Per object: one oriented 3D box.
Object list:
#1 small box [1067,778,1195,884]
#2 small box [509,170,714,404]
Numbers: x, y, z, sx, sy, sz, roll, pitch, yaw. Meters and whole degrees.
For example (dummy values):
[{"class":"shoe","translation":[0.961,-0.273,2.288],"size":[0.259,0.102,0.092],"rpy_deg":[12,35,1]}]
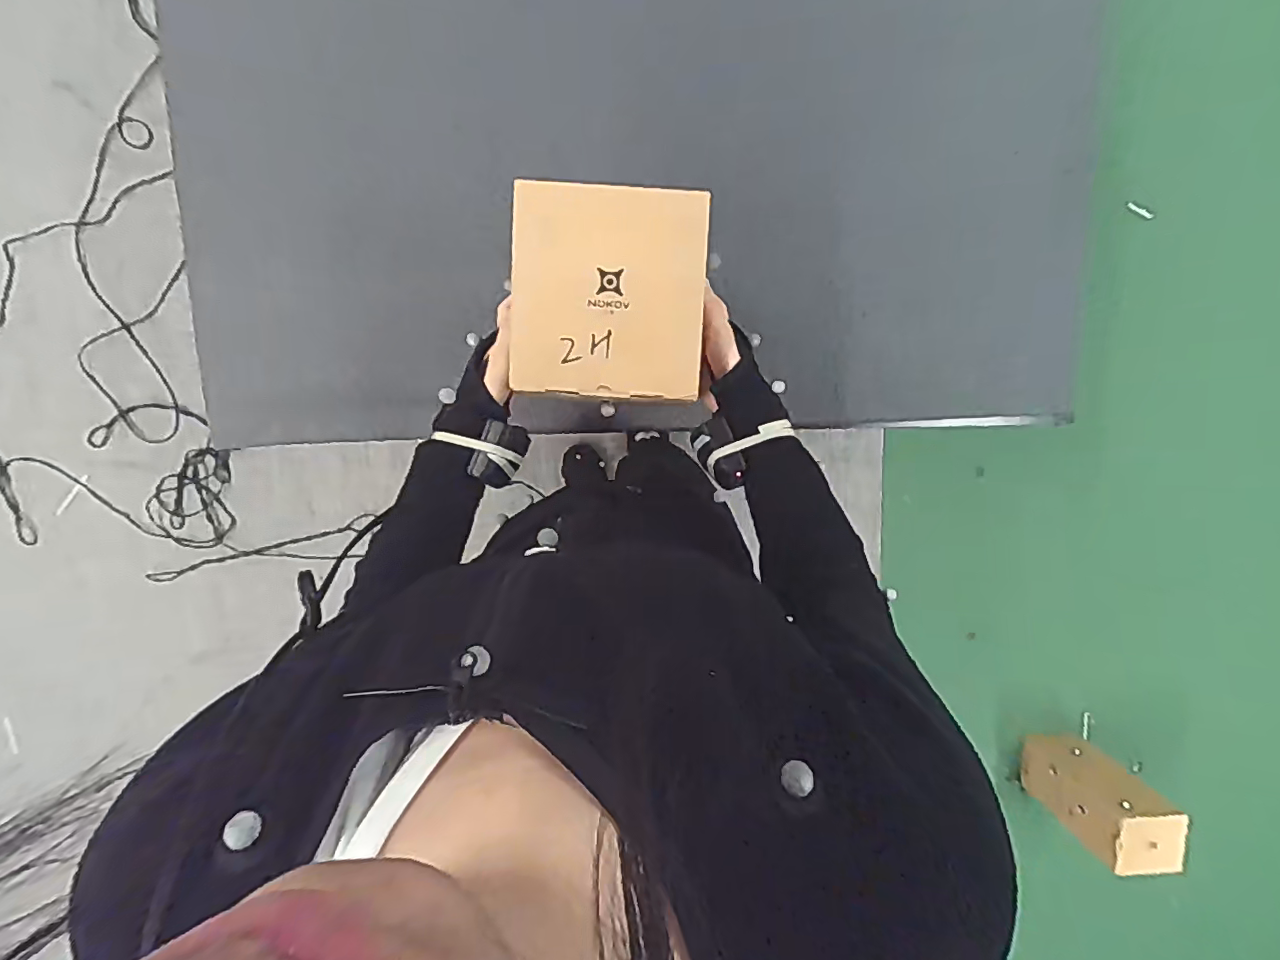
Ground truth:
[{"class":"small box","translation":[1.279,0.912,1.419],"size":[0.179,0.176,0.168],"rpy_deg":[-2,99,-2]},{"class":"small box","translation":[-0.027,-0.171,0.532],"size":[0.168,0.176,0.179],"rpy_deg":[3,95,-1]}]
